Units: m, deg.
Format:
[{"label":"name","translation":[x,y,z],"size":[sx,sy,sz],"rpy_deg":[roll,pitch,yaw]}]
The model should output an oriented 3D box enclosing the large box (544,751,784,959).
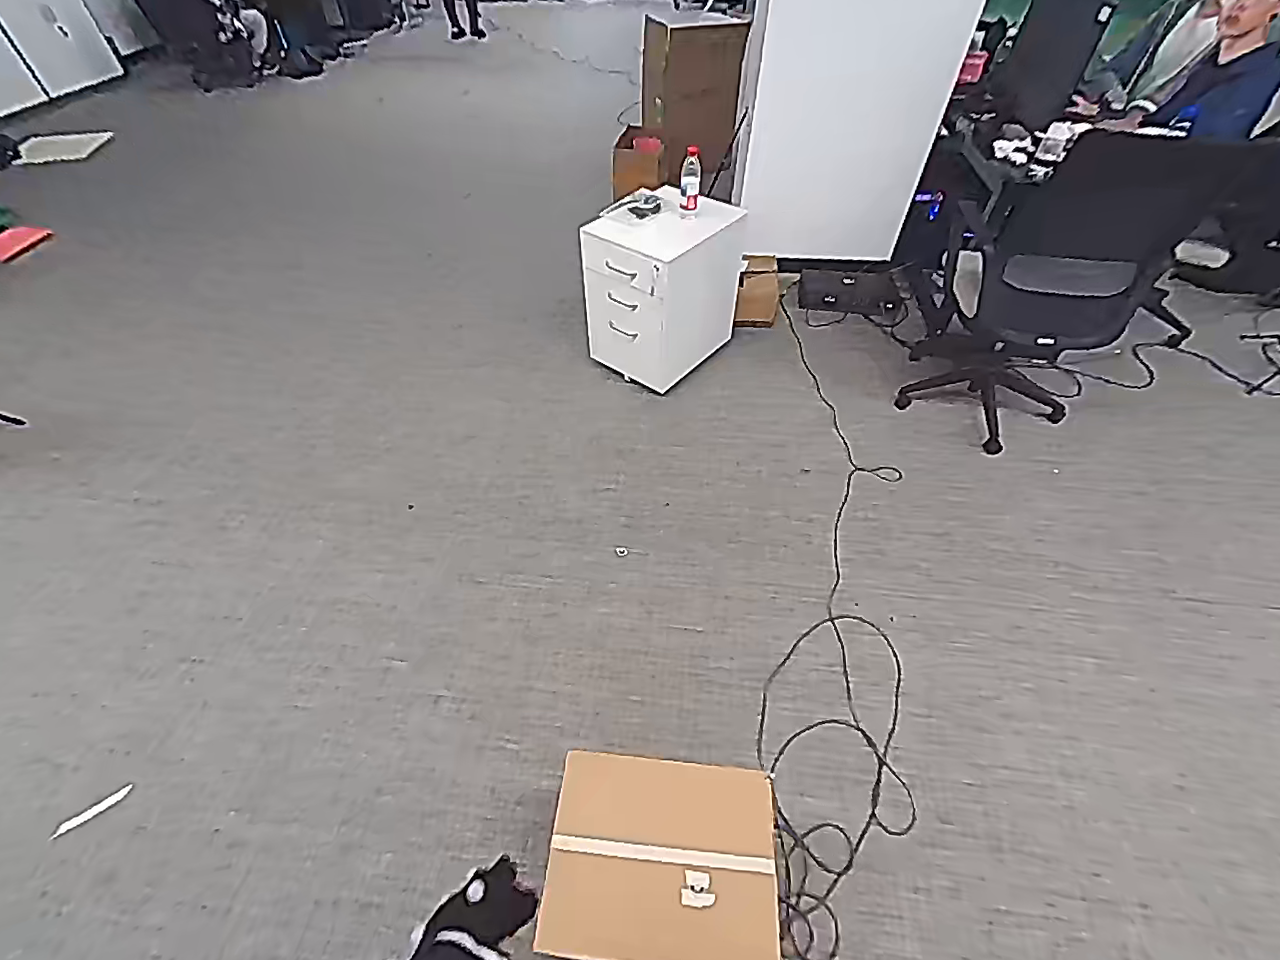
[{"label":"large box","translation":[0.050,0.775,1.091],"size":[0.408,0.320,0.320],"rpy_deg":[4,49,4]}]
